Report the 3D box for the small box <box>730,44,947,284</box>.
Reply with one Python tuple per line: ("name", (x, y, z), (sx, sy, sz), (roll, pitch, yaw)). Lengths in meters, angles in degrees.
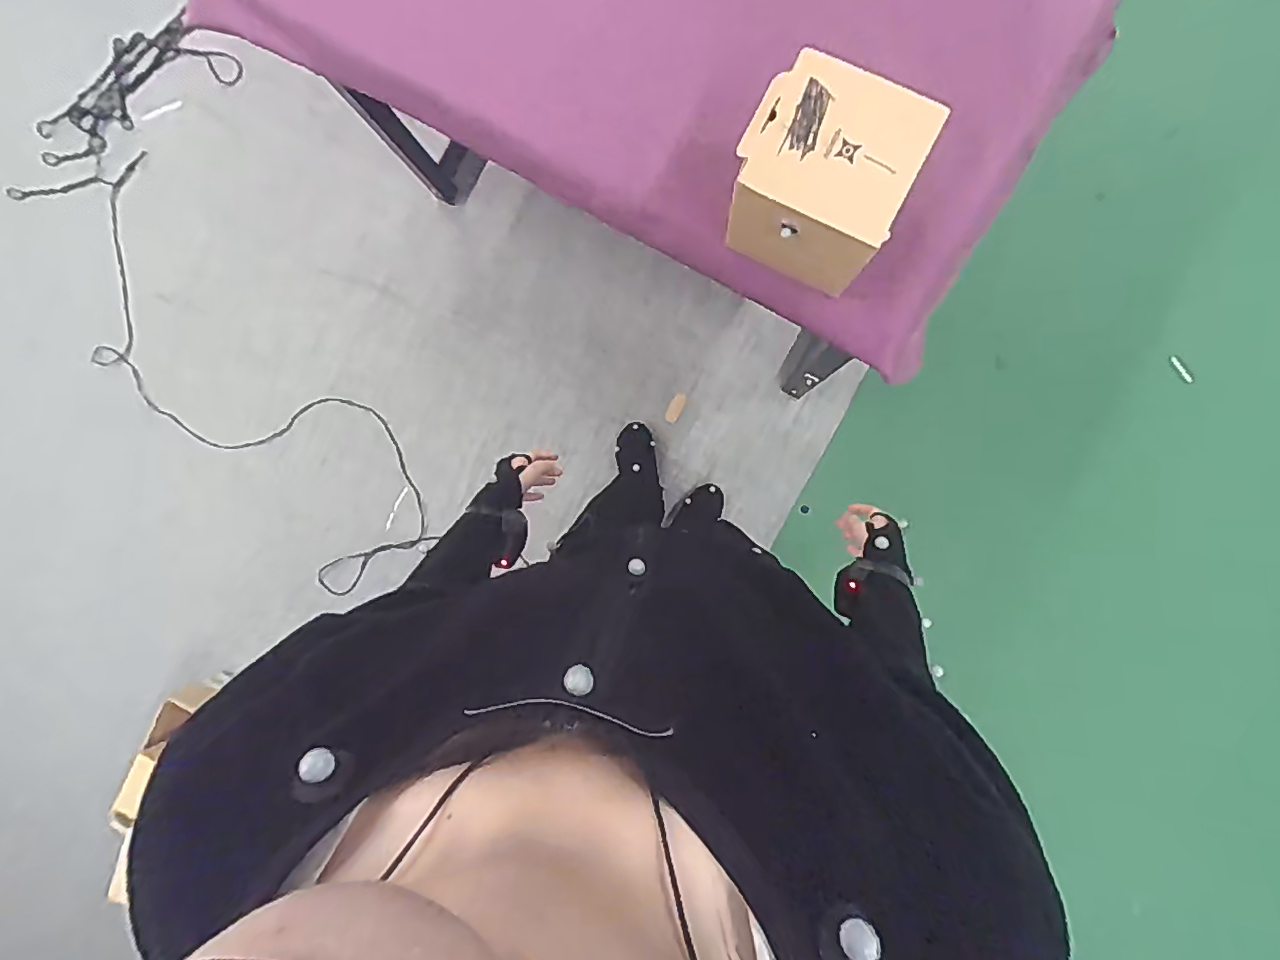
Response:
("small box", (0.225, -0.370, 0.669), (0.179, 0.176, 0.168), (28, 94, 4))
